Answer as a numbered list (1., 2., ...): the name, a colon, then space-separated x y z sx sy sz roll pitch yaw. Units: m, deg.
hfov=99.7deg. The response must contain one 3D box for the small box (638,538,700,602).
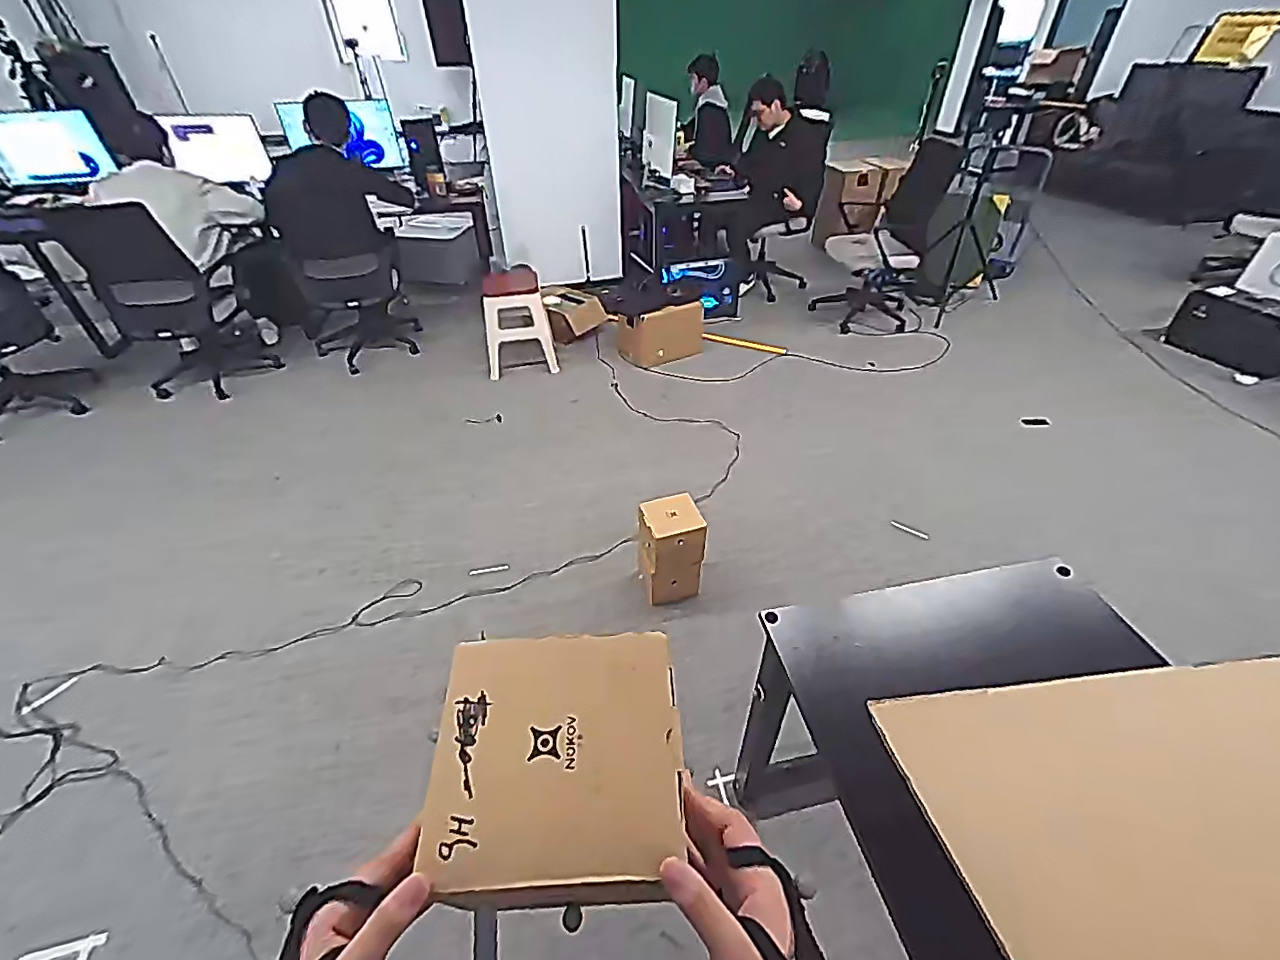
1. small box: 0.096 0.299 1.880 0.179 0.176 0.168 -12 41 -11

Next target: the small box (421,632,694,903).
1. small box: -0.055 0.243 0.455 0.179 0.176 0.168 -2 47 -2

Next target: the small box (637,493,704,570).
1. small box: 0.099 0.173 1.776 0.179 0.176 0.168 -12 42 -14
